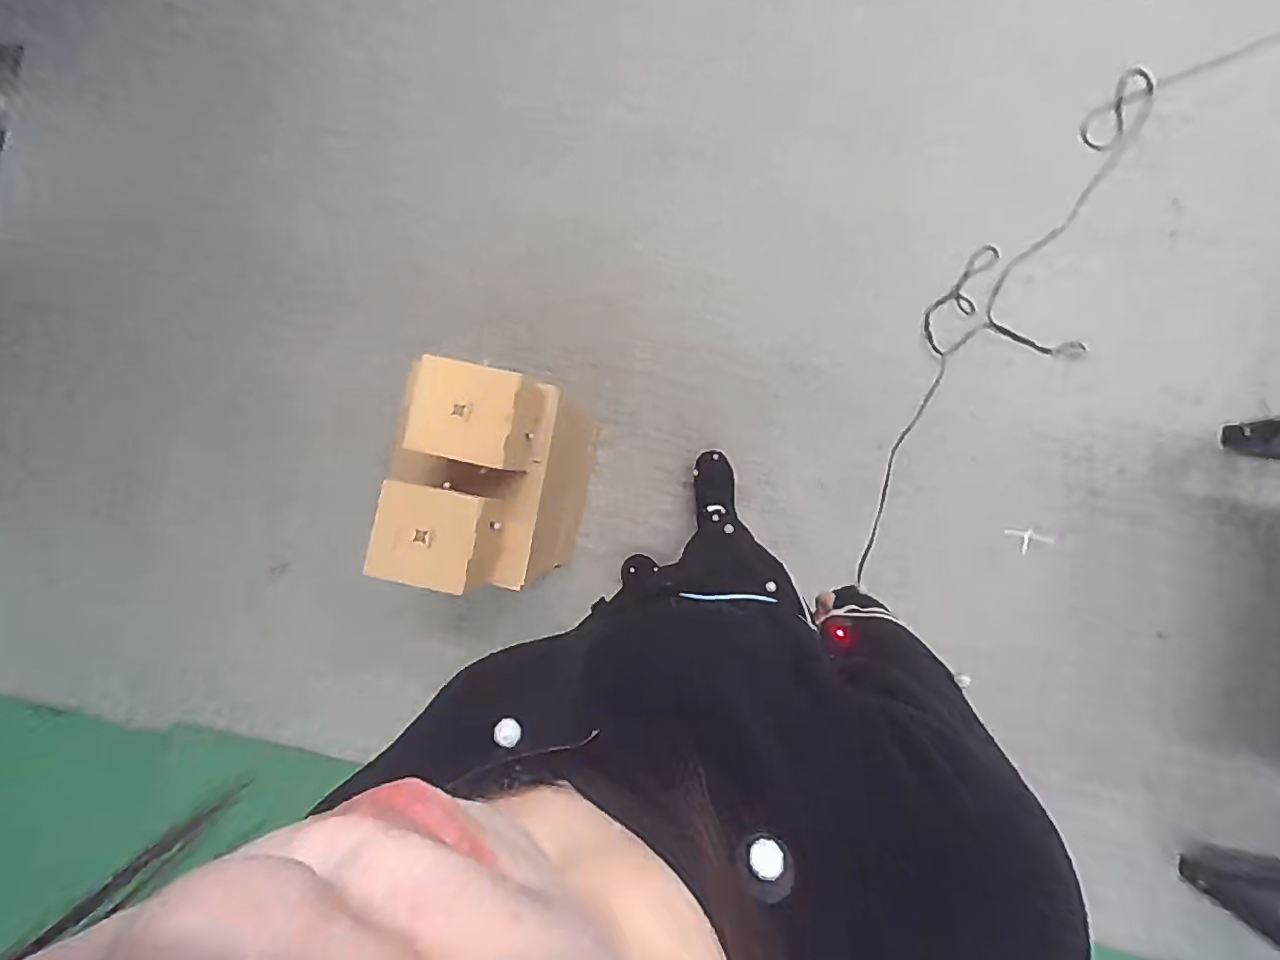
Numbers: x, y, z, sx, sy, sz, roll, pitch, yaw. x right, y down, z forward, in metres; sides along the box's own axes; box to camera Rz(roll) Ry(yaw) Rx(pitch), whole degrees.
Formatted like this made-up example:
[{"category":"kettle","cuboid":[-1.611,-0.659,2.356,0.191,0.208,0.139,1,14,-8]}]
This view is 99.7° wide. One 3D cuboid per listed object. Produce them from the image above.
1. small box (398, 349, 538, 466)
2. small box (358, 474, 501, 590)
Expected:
[{"category":"small box","cuboid":[-0.302,-0.122,0.983,0.179,0.176,0.168,13,90,3]},{"category":"small box","cuboid":[-0.369,0.090,0.982,0.179,0.176,0.168,12,87,2]}]
